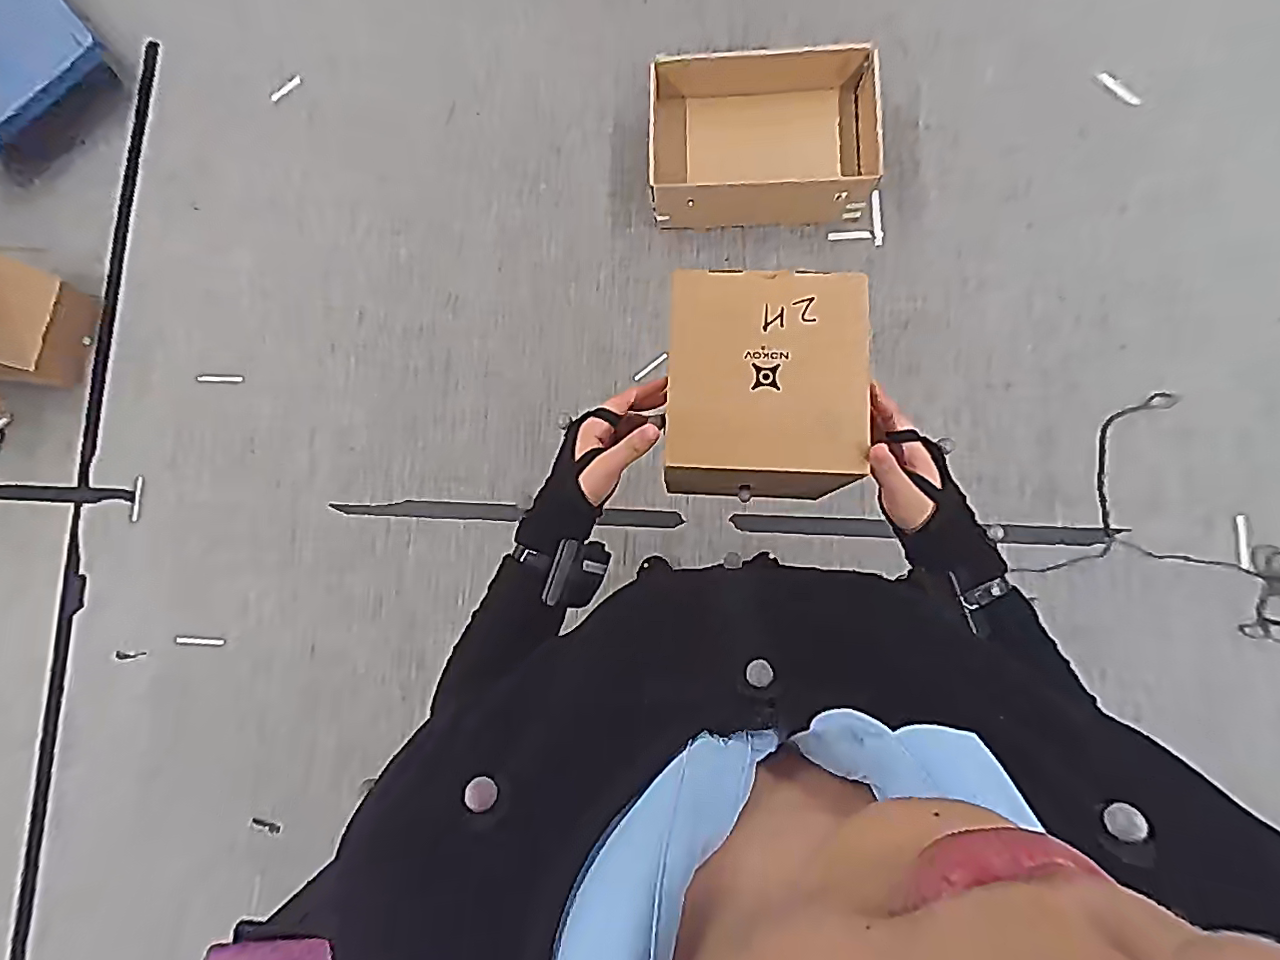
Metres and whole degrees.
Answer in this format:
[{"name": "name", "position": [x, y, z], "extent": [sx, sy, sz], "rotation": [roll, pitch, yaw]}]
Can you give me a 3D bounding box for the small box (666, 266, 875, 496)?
[{"name": "small box", "position": [0.113, -0.081, 0.522], "extent": [0.168, 0.176, 0.179], "rotation": [3, 81, 3]}]
